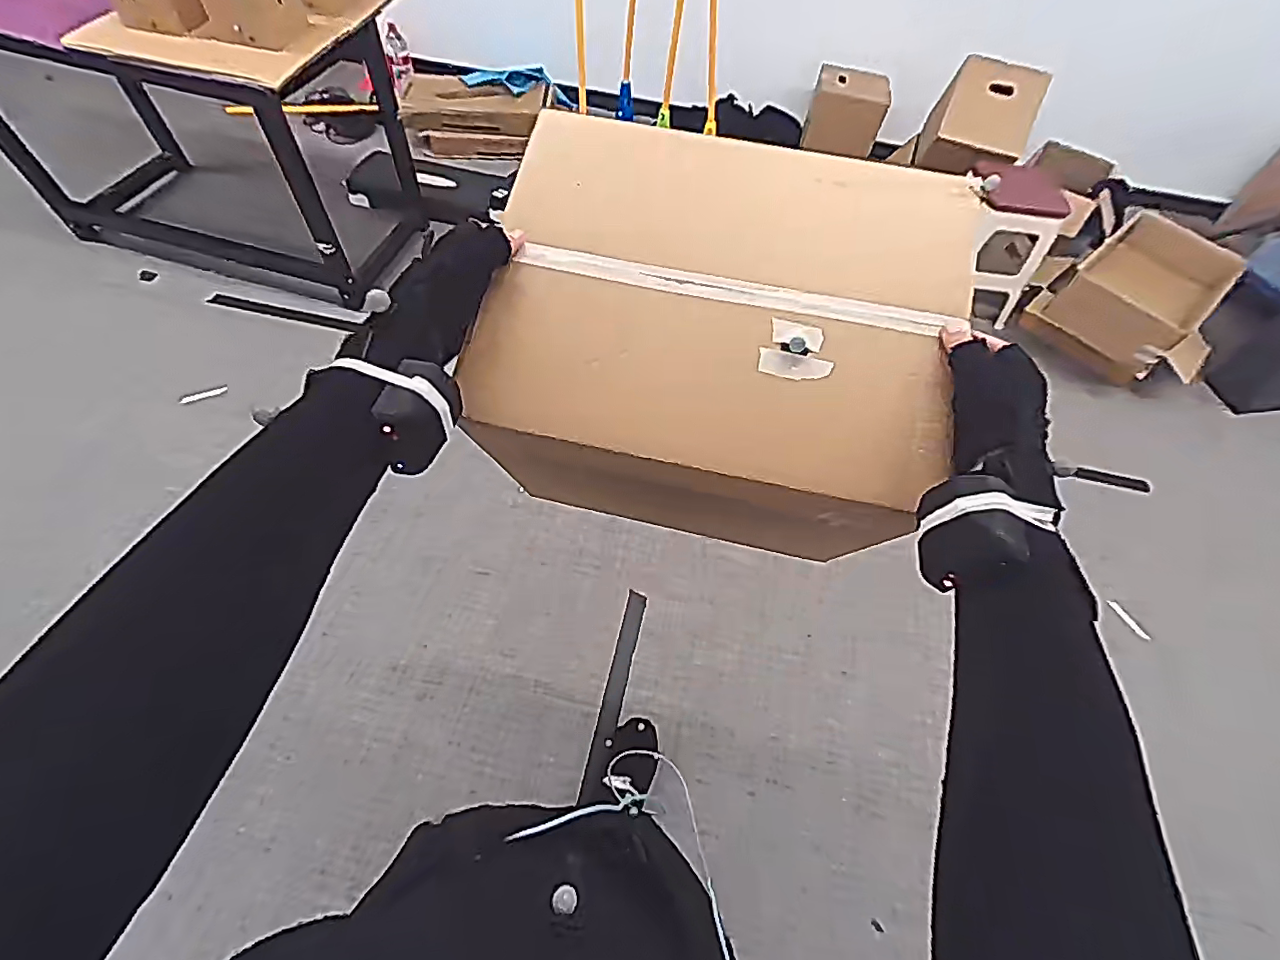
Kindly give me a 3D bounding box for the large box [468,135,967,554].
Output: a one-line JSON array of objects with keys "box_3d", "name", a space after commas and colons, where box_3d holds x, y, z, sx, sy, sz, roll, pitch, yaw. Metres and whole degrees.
[{"box_3d": [0.079, -0.119, 0.621, 0.408, 0.320, 0.320, 12, 77, 4], "name": "large box"}]
